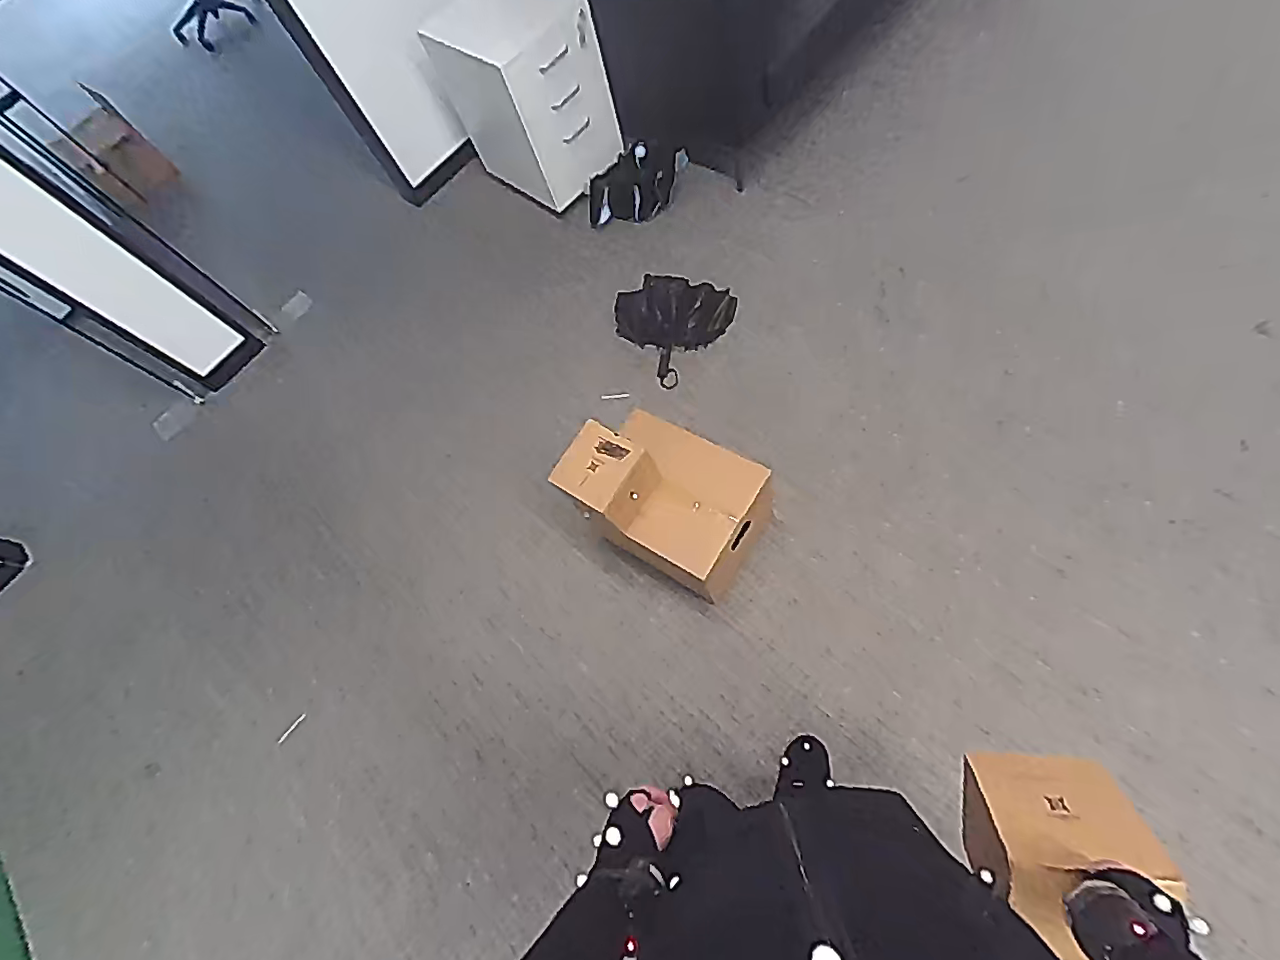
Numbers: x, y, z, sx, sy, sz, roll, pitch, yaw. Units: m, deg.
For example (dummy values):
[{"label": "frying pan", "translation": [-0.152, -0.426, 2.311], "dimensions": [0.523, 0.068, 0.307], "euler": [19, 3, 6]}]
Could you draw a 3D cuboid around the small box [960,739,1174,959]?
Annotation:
[{"label": "small box", "translation": [0.531, 0.471, 0.700], "dimensions": [0.168, 0.179, 0.176], "euler": [-3, 107, 16]}]

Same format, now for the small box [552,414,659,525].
[{"label": "small box", "translation": [-0.072, -0.020, 1.278], "dimensions": [0.168, 0.176, 0.179], "euler": [30, 81, 24]}]
